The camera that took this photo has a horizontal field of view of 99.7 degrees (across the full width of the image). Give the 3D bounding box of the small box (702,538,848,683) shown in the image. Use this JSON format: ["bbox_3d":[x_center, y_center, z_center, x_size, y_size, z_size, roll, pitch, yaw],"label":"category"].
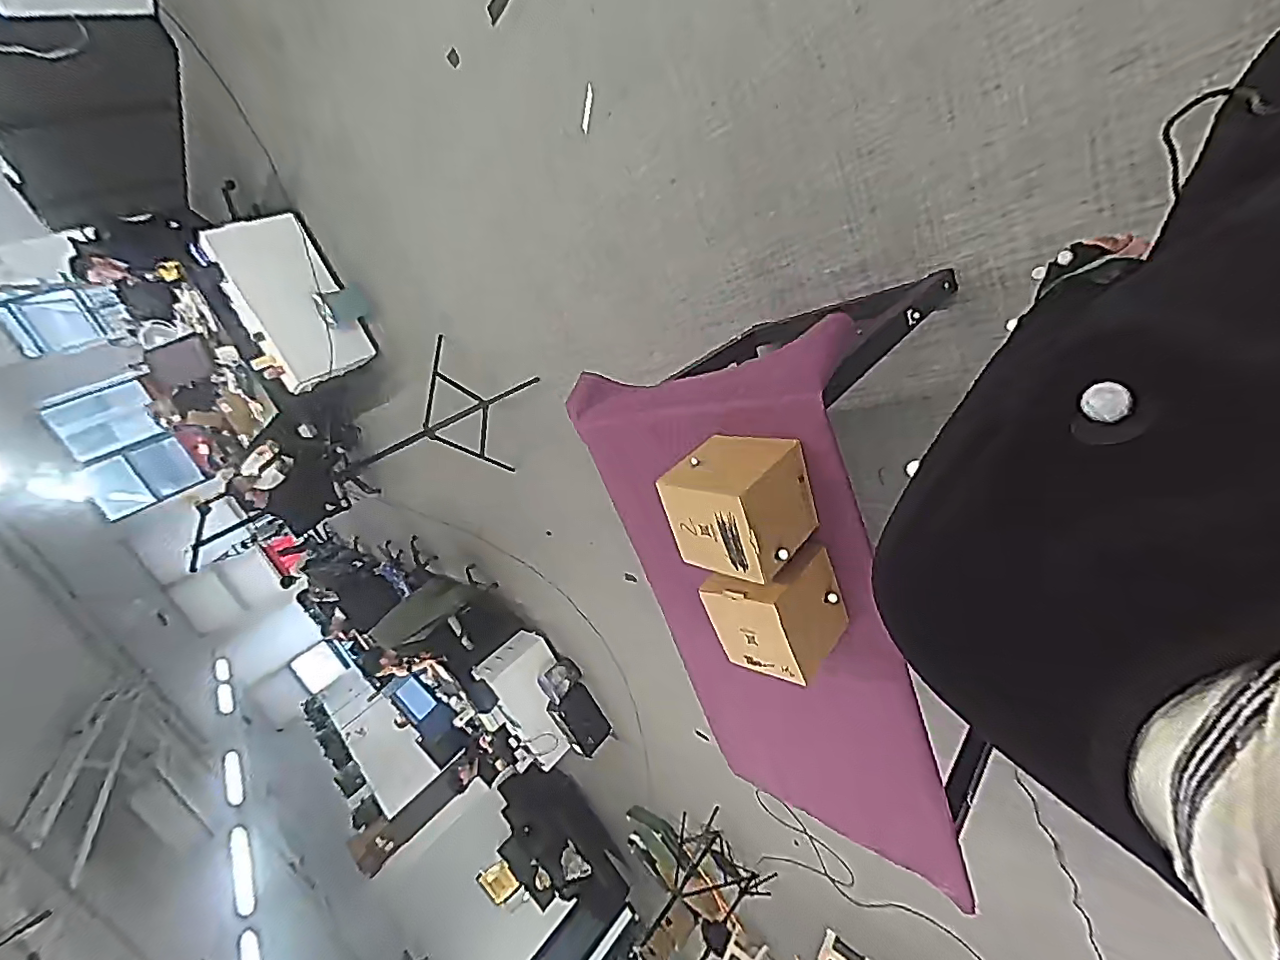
[{"bbox_3d":[0.245,0.221,0.968,0.168,0.176,0.179,-1,119,50],"label":"small box"}]
